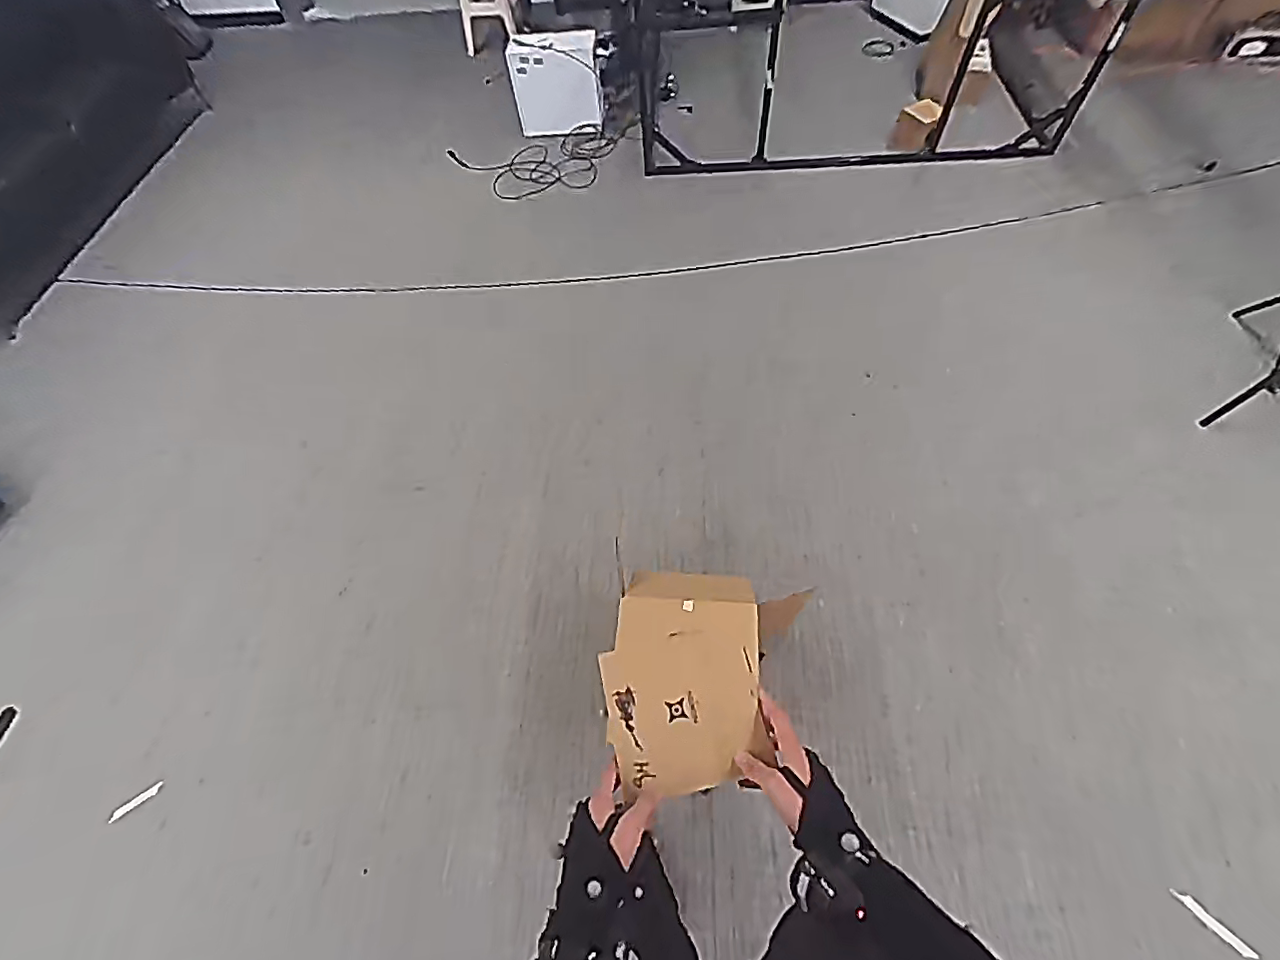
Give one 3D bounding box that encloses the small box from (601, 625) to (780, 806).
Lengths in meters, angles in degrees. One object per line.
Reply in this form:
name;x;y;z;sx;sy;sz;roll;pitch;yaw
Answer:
small box;0.058;0.293;0.686;0.179;0.176;0.168;-13;65;0
